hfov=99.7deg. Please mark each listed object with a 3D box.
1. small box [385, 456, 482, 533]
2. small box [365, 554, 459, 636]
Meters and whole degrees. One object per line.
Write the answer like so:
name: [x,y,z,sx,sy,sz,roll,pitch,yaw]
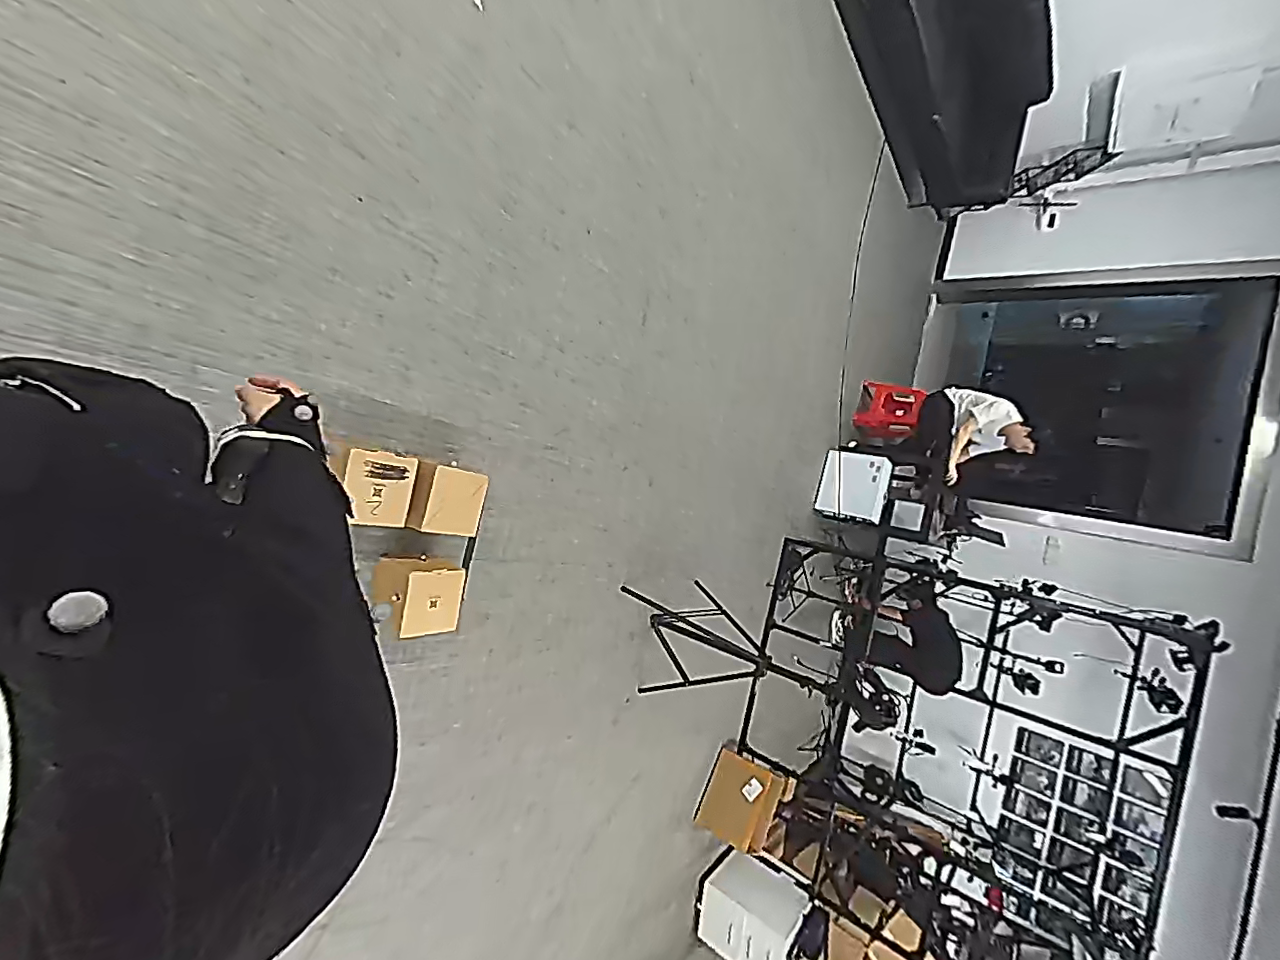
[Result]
small box: [-0.561,0.043,1.473,0.168,0.176,0.179,17,86,-53]
small box: [-0.624,0.306,1.471,0.168,0.176,0.179,9,92,-52]
